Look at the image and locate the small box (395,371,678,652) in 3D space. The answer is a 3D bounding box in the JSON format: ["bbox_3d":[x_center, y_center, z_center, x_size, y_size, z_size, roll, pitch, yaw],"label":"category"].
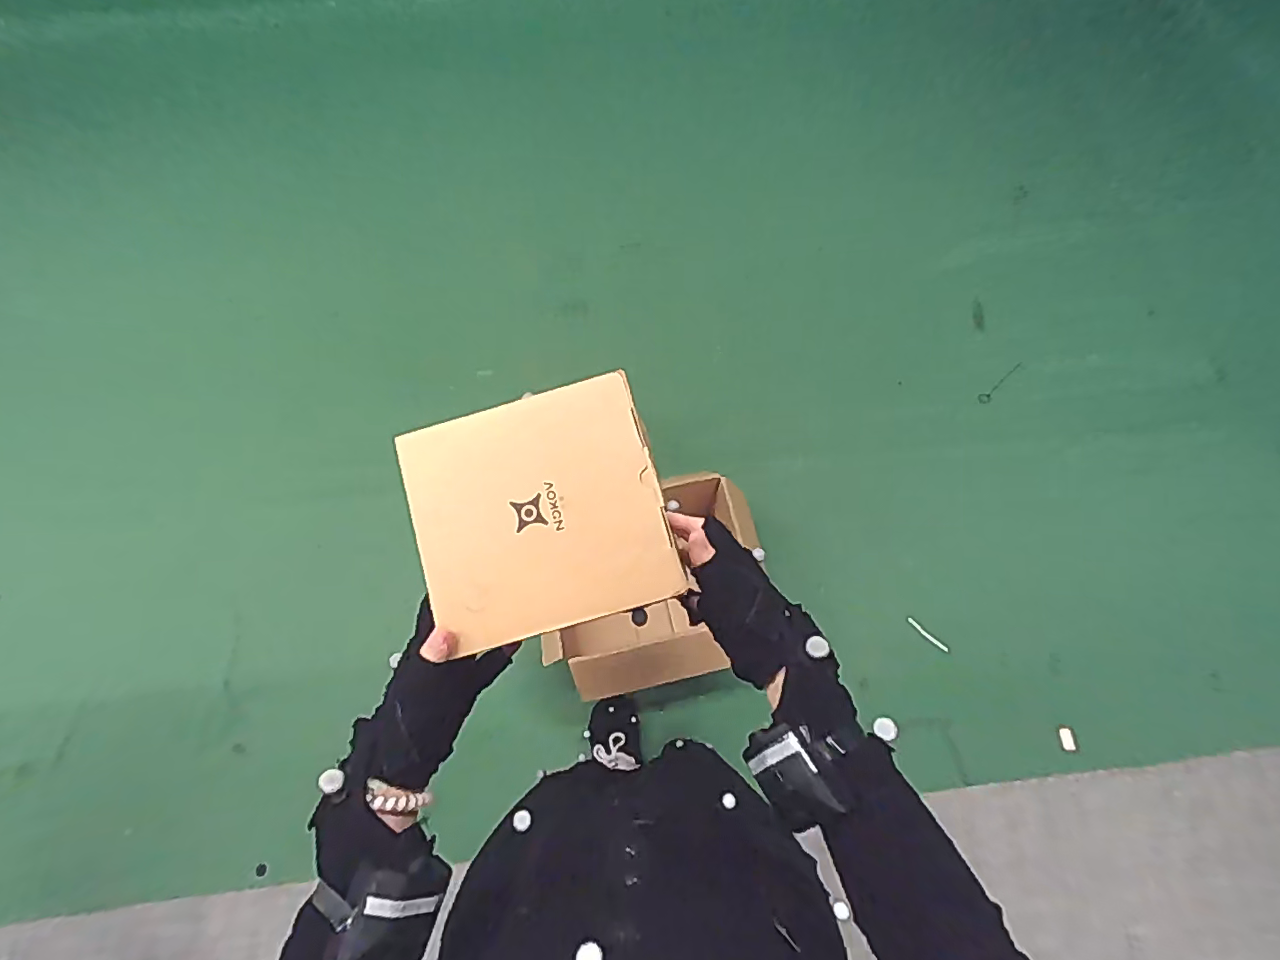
[{"bbox_3d":[-0.071,0.033,0.456,0.179,0.176,0.168,-16,80,1],"label":"small box"}]
